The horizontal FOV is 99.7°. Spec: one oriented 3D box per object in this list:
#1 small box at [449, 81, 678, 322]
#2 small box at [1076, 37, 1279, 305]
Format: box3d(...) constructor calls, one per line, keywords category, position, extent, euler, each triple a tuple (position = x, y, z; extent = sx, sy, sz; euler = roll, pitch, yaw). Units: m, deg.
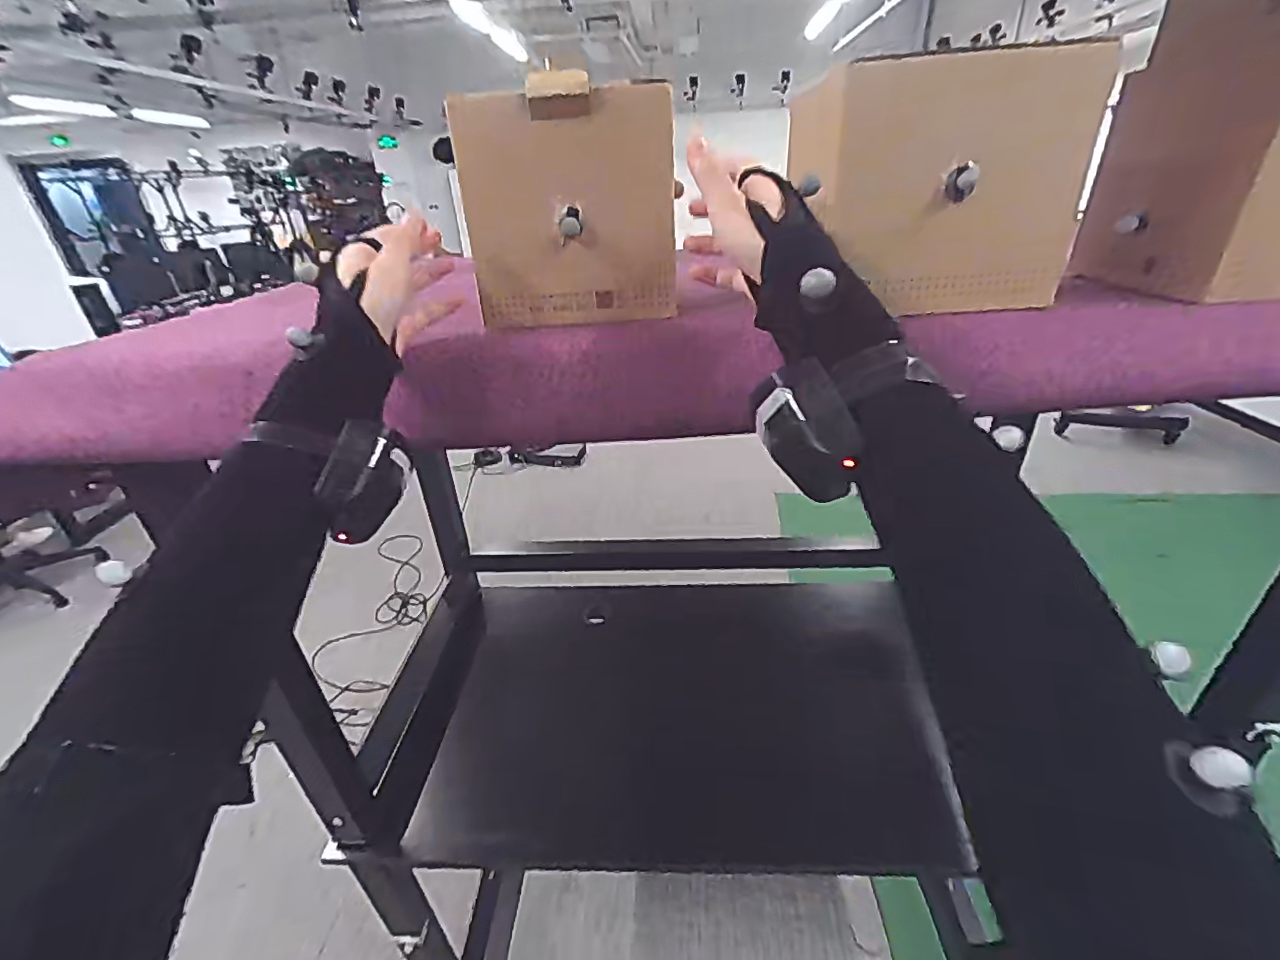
box3d(category="small box", position=(-0.053, -0.244, 0.497), extent=(0.168, 0.176, 0.179), euler=(-3, 28, 0))
box3d(category="small box", position=(0.506, -0.243, 0.430), extent=(0.179, 0.176, 0.168), euler=(-2, 28, 5))
